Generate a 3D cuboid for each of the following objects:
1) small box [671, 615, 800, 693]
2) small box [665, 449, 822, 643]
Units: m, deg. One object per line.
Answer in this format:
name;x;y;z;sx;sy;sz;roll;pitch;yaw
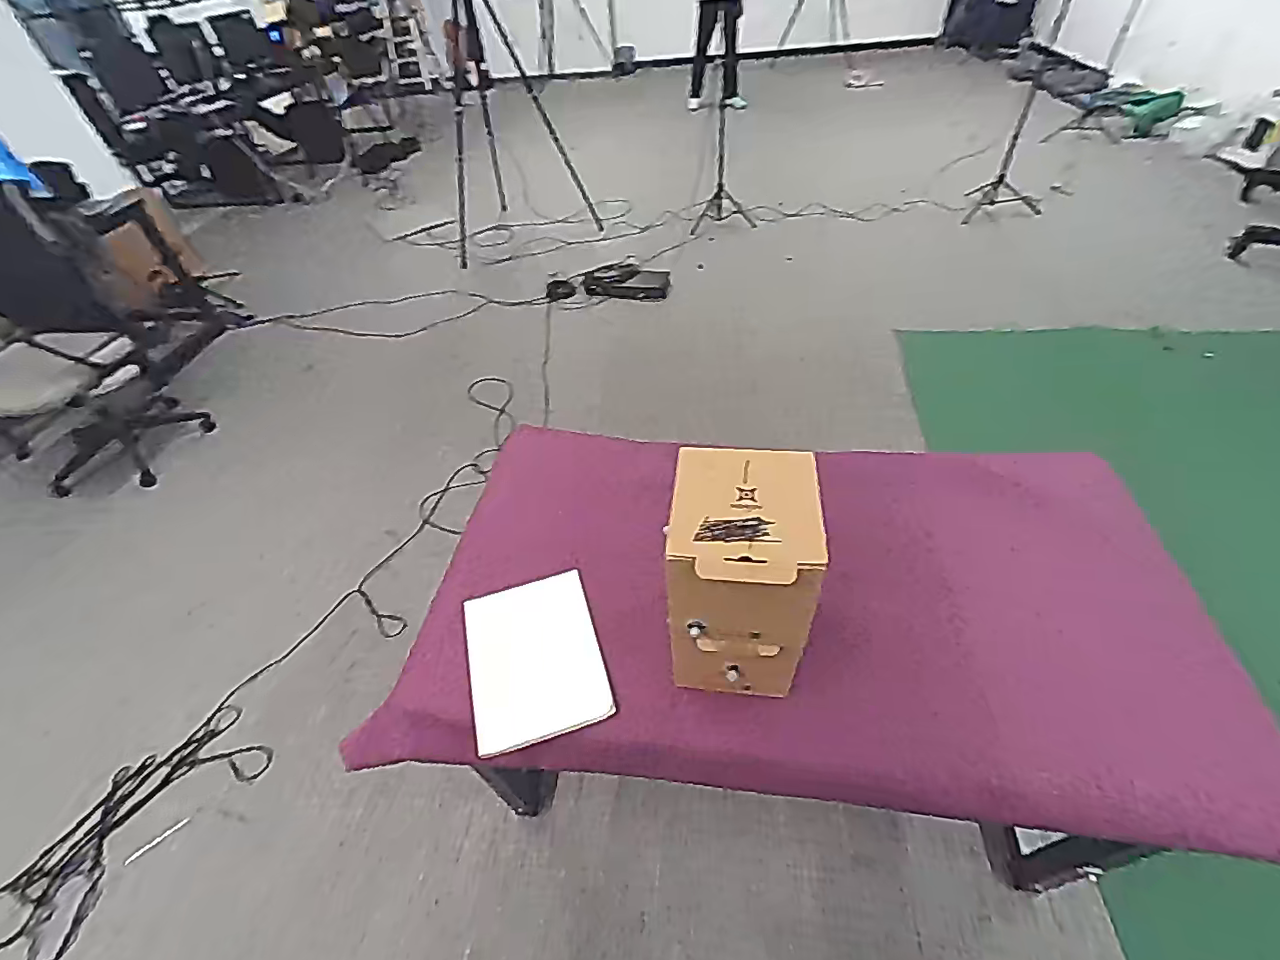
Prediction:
small box;0.140;0.194;0.796;0.168;0.176;0.179;3;47;9
small box;0.127;0.083;0.674;0.168;0.176;0.179;3;45;9
